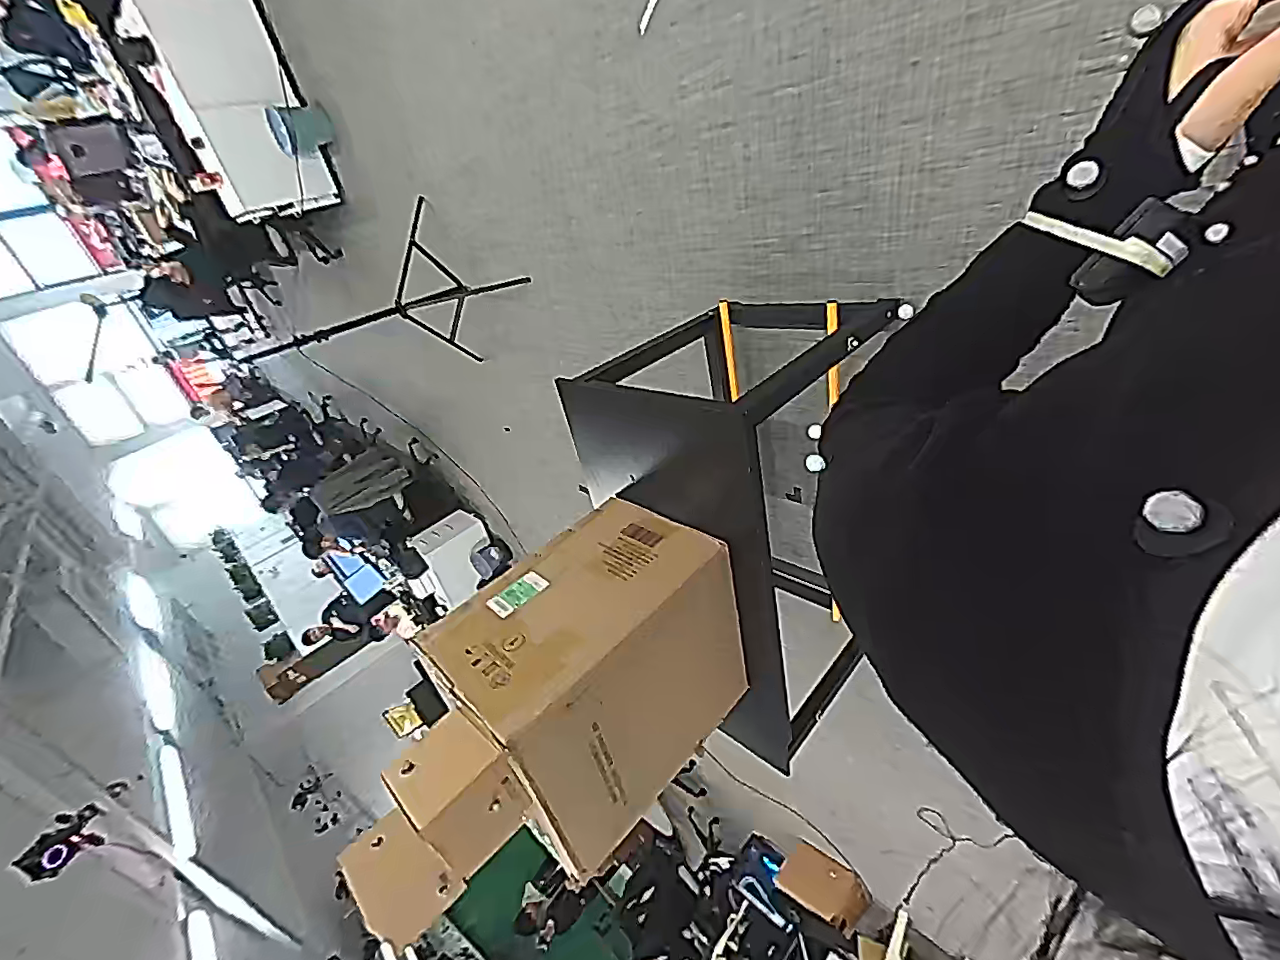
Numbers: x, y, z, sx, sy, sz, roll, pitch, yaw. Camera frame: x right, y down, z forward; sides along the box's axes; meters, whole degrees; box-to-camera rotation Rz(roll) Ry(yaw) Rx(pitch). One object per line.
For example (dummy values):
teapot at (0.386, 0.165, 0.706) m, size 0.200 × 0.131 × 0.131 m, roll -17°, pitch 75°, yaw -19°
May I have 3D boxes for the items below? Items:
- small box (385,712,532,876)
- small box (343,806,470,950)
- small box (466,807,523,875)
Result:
small box at (-0.334, 0.571, 1.010) m, size 0.179 × 0.176 × 0.168 m, roll 15°, pitch 133°, yaw 44°
small box at (-0.498, 0.839, 1.167) m, size 0.179 × 0.176 × 0.168 m, roll 21°, pitch 135°, yaw 41°
small box at (-0.394, 0.758, 1.266) m, size 0.179 × 0.176 × 0.168 m, roll 19°, pitch 133°, yaw 43°
